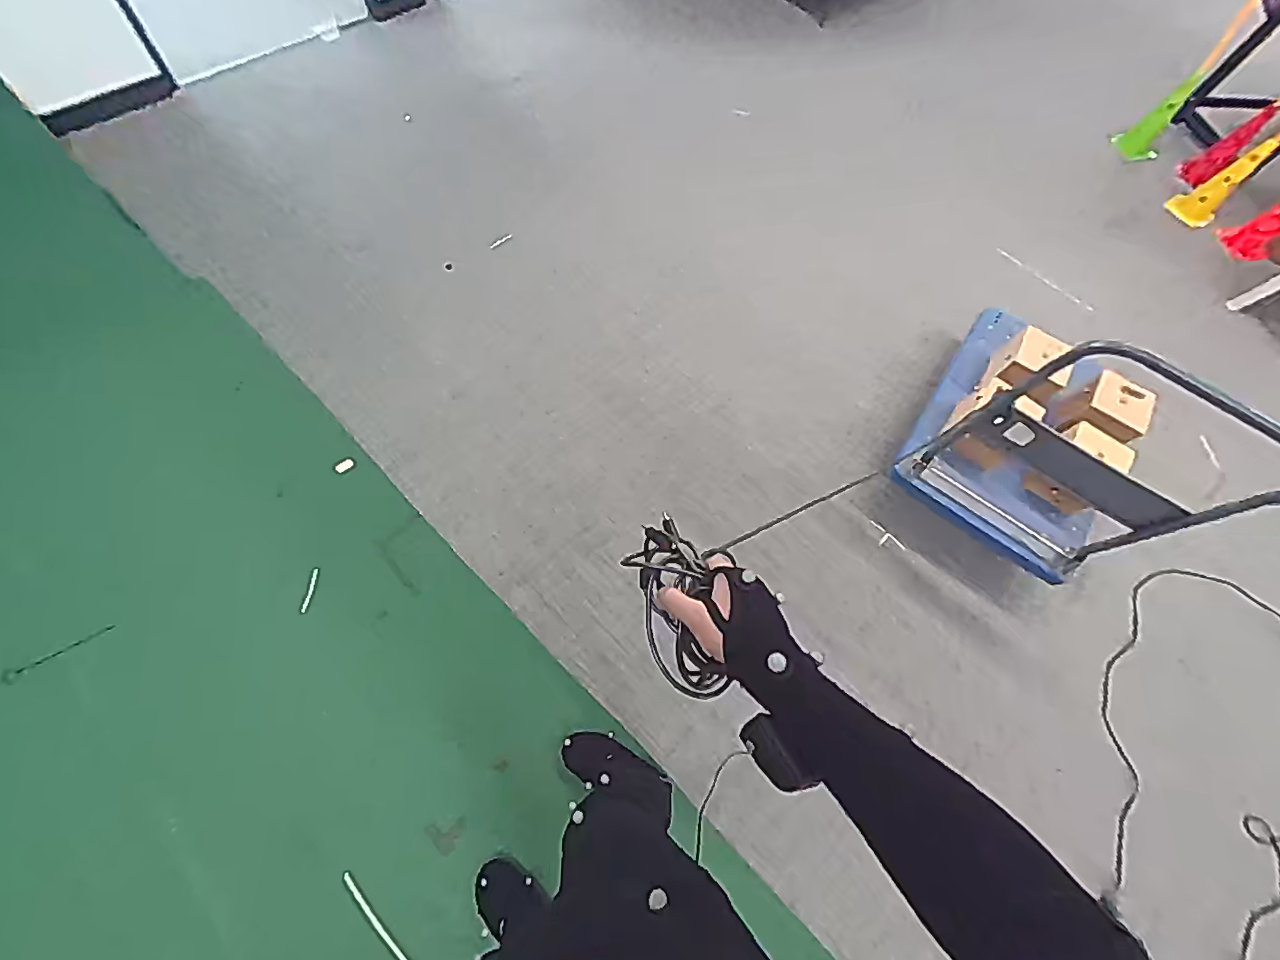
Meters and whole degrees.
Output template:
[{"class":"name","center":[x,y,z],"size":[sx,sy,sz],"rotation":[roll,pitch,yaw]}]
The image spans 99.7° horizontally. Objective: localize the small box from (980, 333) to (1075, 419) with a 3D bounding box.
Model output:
[{"class":"small box","center":[1.235,-0.328,1.736],"size":[0.168,0.176,0.179],"rotation":[33,66,8]}]

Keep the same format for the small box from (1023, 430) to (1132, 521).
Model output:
[{"class":"small box","center":[1.284,-0.009,1.598],"size":[0.168,0.176,0.179],"rotation":[38,67,11]}]

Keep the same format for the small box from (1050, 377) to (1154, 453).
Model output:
[{"class":"small box","center":[1.439,-0.181,1.693],"size":[0.168,0.176,0.179],"rotation":[34,67,10]}]
